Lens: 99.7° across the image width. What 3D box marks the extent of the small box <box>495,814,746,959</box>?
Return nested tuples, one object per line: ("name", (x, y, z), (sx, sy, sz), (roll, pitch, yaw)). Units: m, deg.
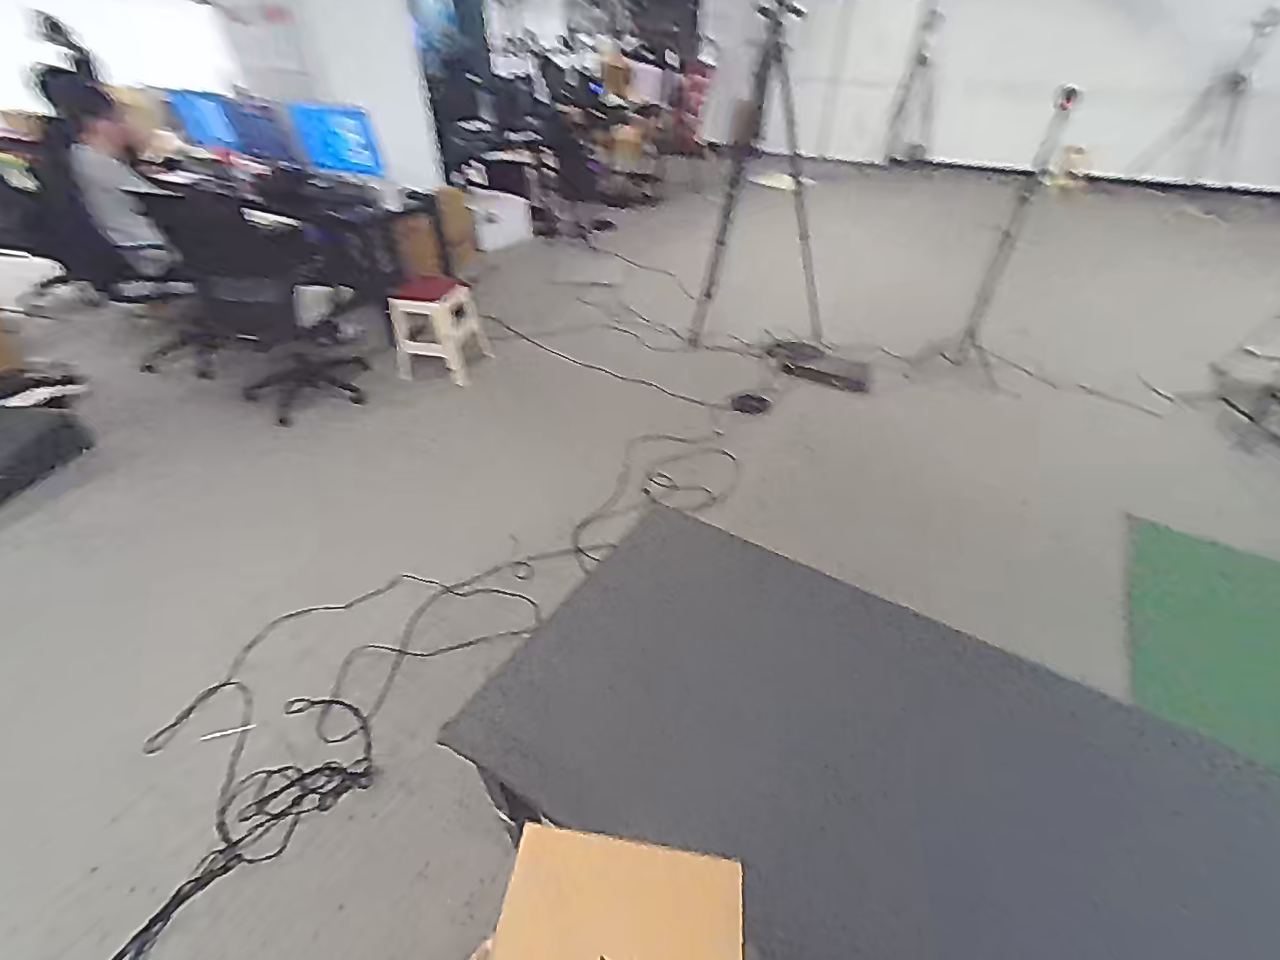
("small box", (-0.020, 0.385, 0.397), (0.168, 0.176, 0.179), (8, 41, 6))
